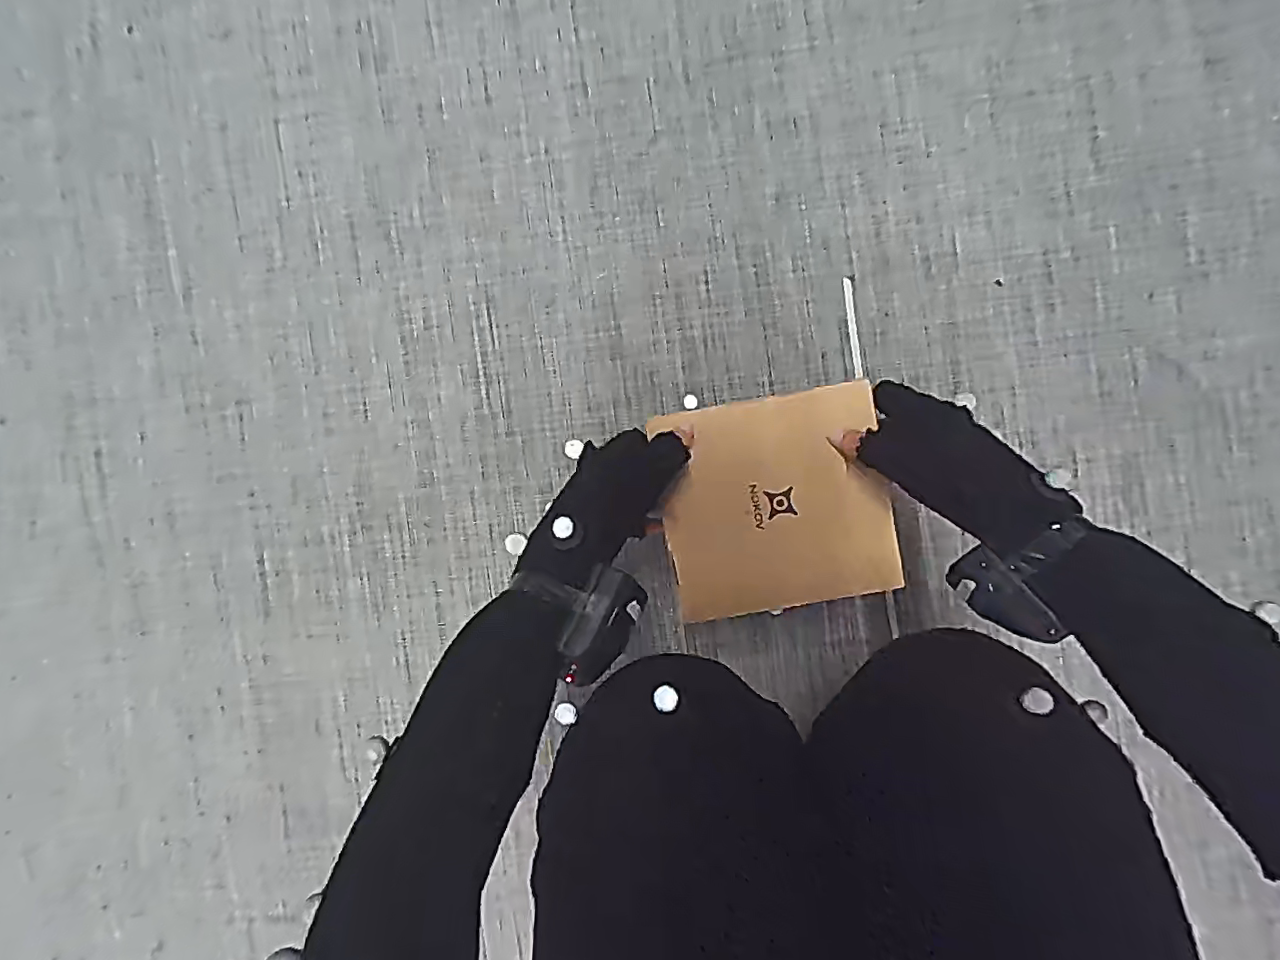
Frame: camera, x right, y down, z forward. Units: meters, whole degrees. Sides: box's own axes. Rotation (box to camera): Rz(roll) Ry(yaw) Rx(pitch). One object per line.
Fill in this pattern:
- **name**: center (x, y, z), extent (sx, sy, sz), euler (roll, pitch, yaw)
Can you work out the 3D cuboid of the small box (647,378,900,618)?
- **small box**: center (0.106, 0.008, 0.493), extent (0.179, 0.176, 0.168), euler (-10, 95, 4)
